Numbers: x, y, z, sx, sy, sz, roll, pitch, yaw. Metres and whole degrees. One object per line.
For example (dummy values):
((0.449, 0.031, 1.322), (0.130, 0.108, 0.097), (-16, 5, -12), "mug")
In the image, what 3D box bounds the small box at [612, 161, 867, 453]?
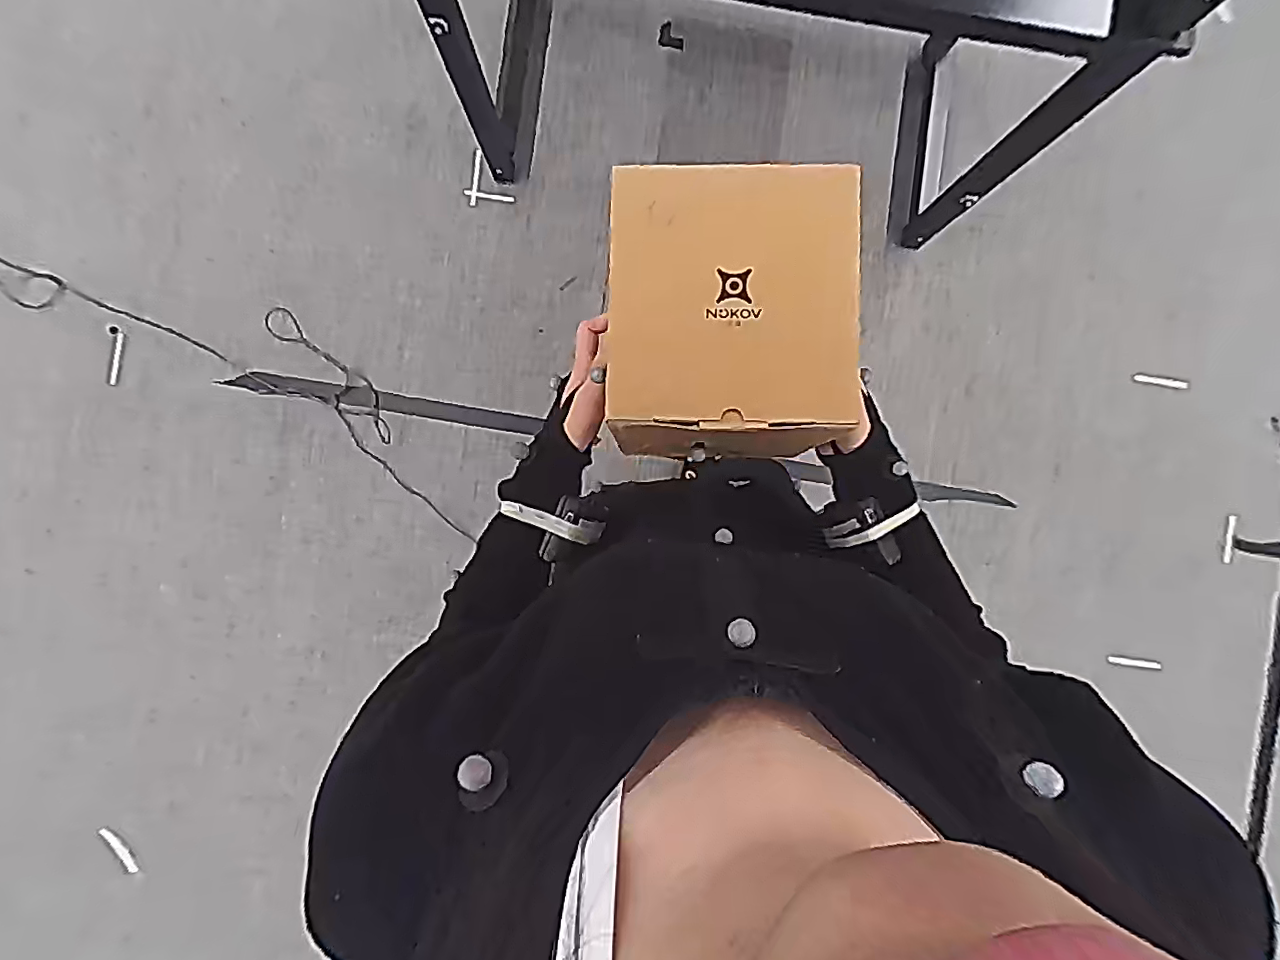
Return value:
((0.066, -0.119, 0.431), (0.168, 0.176, 0.179), (0, 87, 2), "small box")
